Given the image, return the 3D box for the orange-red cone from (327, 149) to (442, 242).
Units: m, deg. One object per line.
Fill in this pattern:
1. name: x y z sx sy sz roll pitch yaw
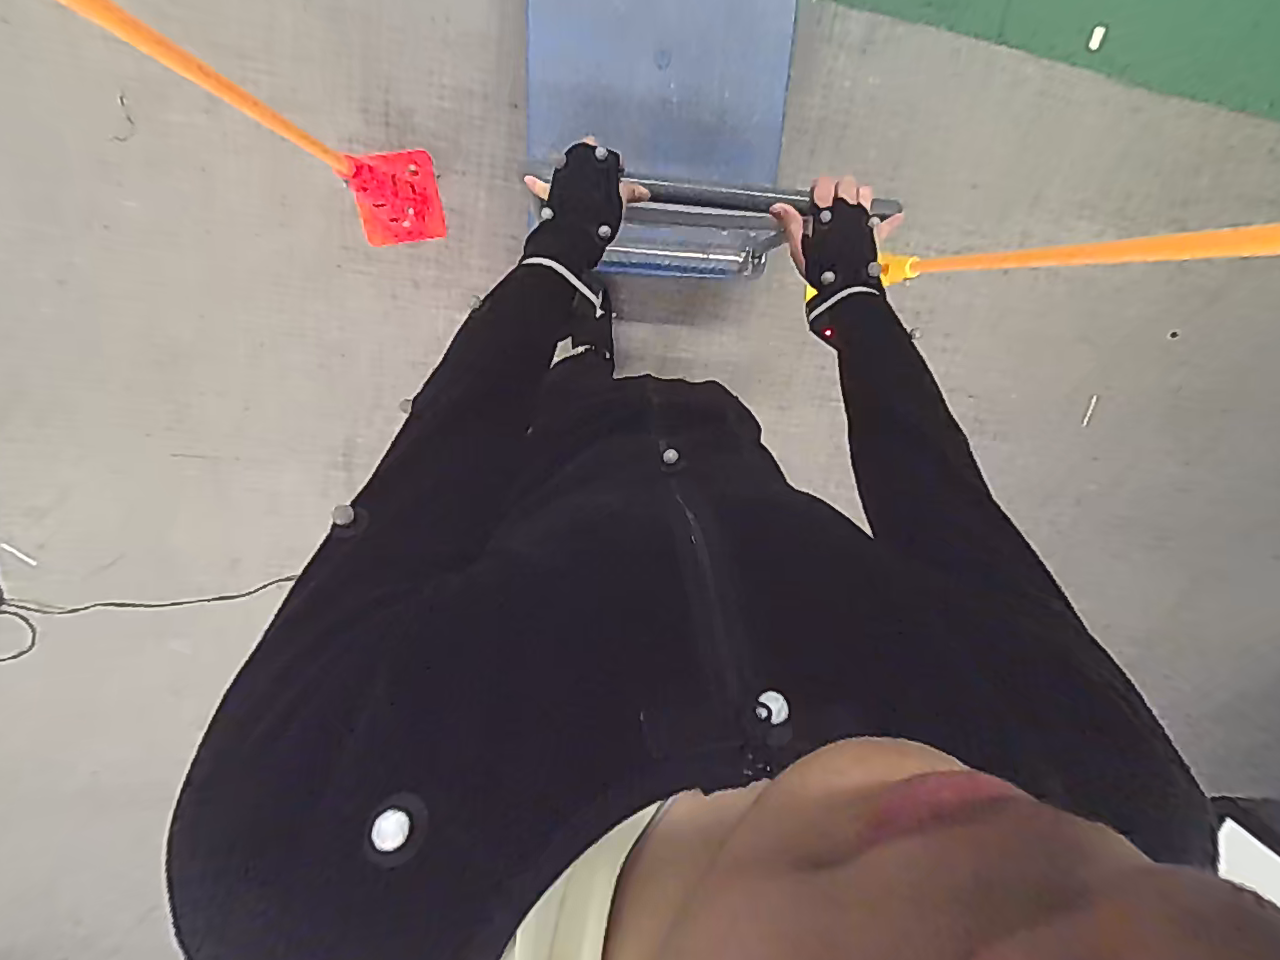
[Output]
1. orange-red cone: -0.582 -0.644 1.167 0.199 0.360 0.198 -8 109 -3
